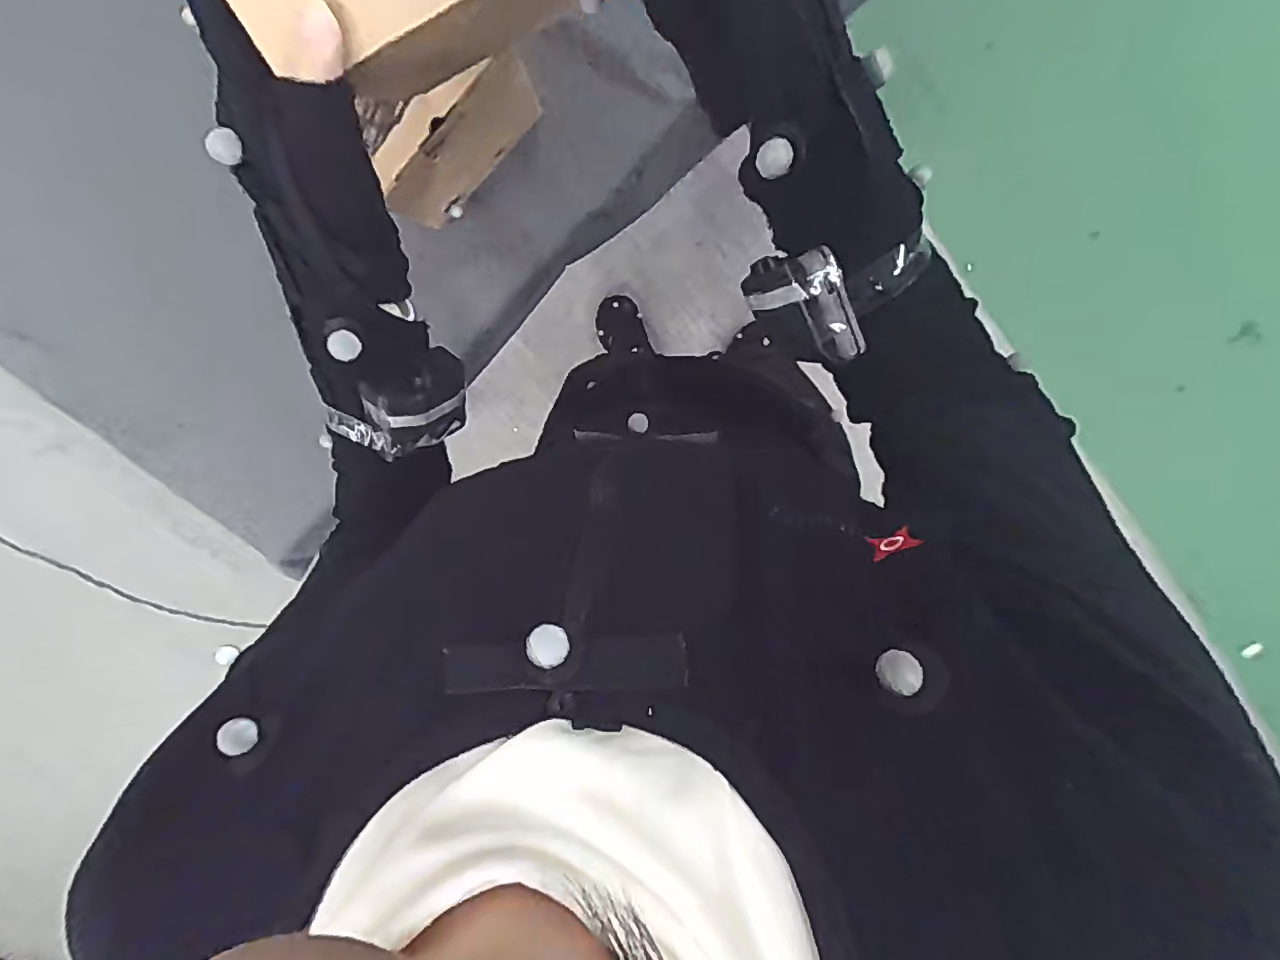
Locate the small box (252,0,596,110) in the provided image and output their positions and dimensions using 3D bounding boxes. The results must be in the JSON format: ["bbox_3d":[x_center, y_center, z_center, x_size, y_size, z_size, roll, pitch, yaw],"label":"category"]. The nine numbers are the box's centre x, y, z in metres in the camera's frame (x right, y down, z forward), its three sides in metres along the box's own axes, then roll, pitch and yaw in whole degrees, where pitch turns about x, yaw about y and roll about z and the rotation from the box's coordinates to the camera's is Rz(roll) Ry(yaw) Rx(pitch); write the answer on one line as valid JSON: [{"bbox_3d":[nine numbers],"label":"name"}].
[{"bbox_3d":[-0.088,-0.290,0.224,0.179,0.176,0.168,-21,124,15],"label":"small box"}]

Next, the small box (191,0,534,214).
[{"bbox_3d":[-0.217,-0.363,0.478,0.168,0.176,0.179,-42,105,12],"label":"small box"}]
